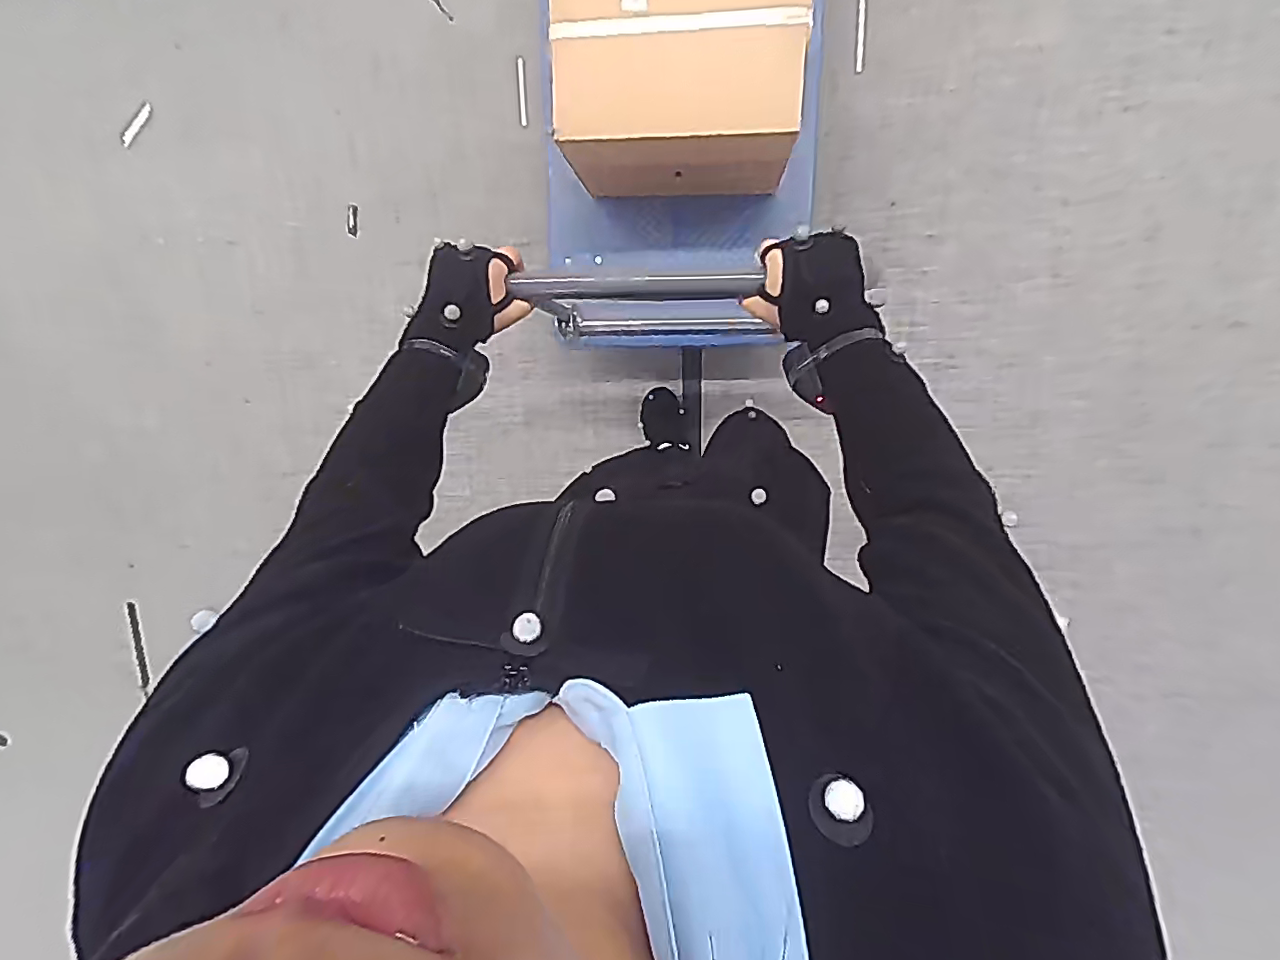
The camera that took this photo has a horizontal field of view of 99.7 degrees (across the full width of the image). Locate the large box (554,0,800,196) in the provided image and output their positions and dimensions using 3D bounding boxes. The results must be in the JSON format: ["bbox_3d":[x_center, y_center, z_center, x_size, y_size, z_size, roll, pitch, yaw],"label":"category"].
[{"bbox_3d":[0.075,-0.750,1.016,0.408,0.320,0.320,2,101,7],"label":"large box"}]
